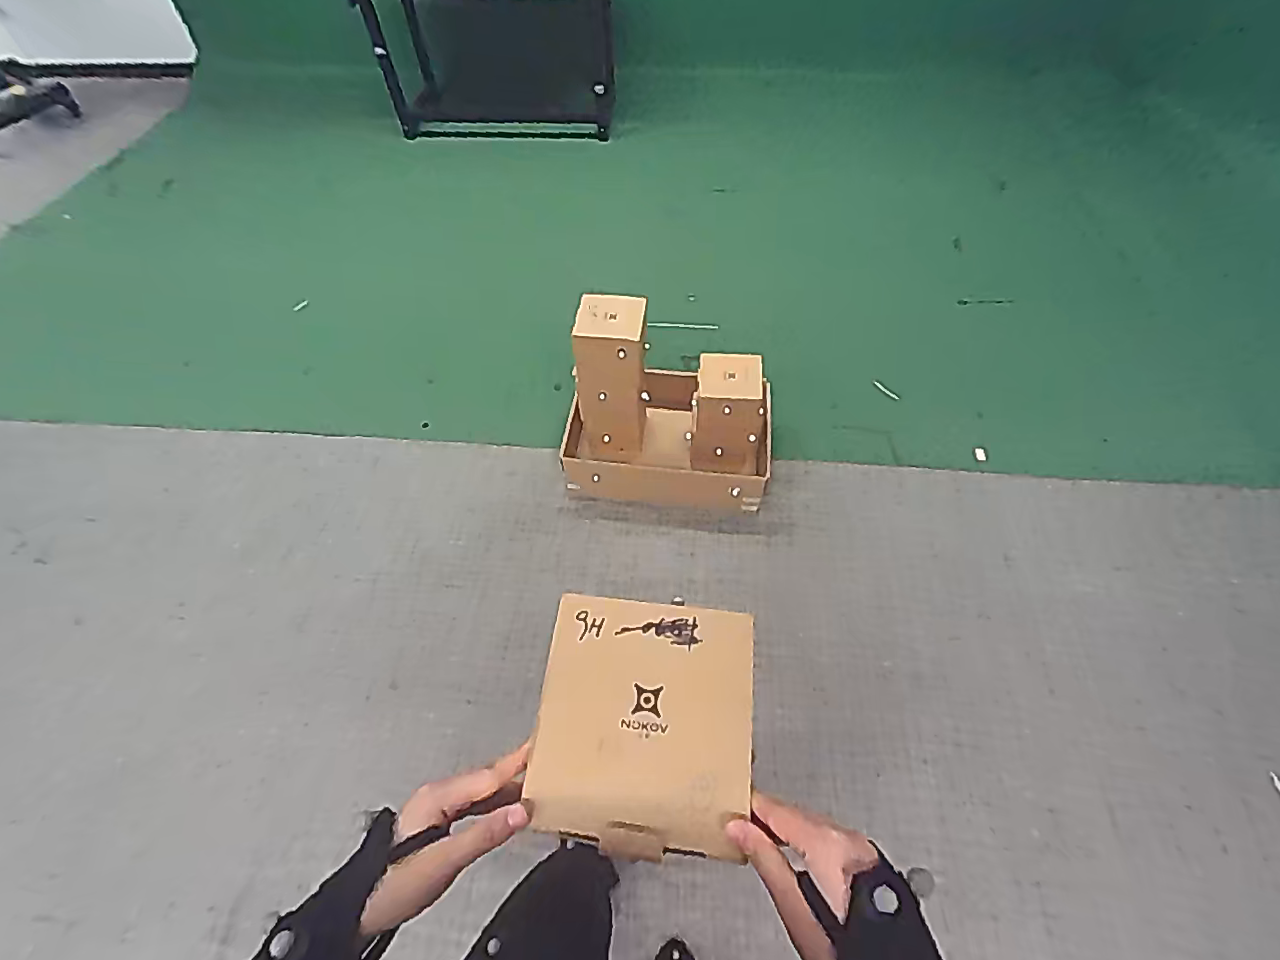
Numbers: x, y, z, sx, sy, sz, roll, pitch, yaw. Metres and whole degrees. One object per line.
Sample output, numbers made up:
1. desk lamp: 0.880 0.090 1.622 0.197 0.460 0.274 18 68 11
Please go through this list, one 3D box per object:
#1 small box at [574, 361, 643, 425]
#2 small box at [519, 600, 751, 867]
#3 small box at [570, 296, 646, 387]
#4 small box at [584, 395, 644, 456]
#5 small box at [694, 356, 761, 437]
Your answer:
1. small box: -0.086 -0.277 1.586 0.179 0.176 0.168 6 57 4
2. small box: 0.005 0.224 0.491 0.168 0.176 0.179 5 61 5
3. small box: -0.079 -0.366 1.446 0.179 0.176 0.168 5 56 4
4. small box: -0.077 -0.194 1.727 0.168 0.176 0.179 5 57 4
5. small box: 0.248 -0.236 1.549 0.179 0.176 0.168 3 58 5
